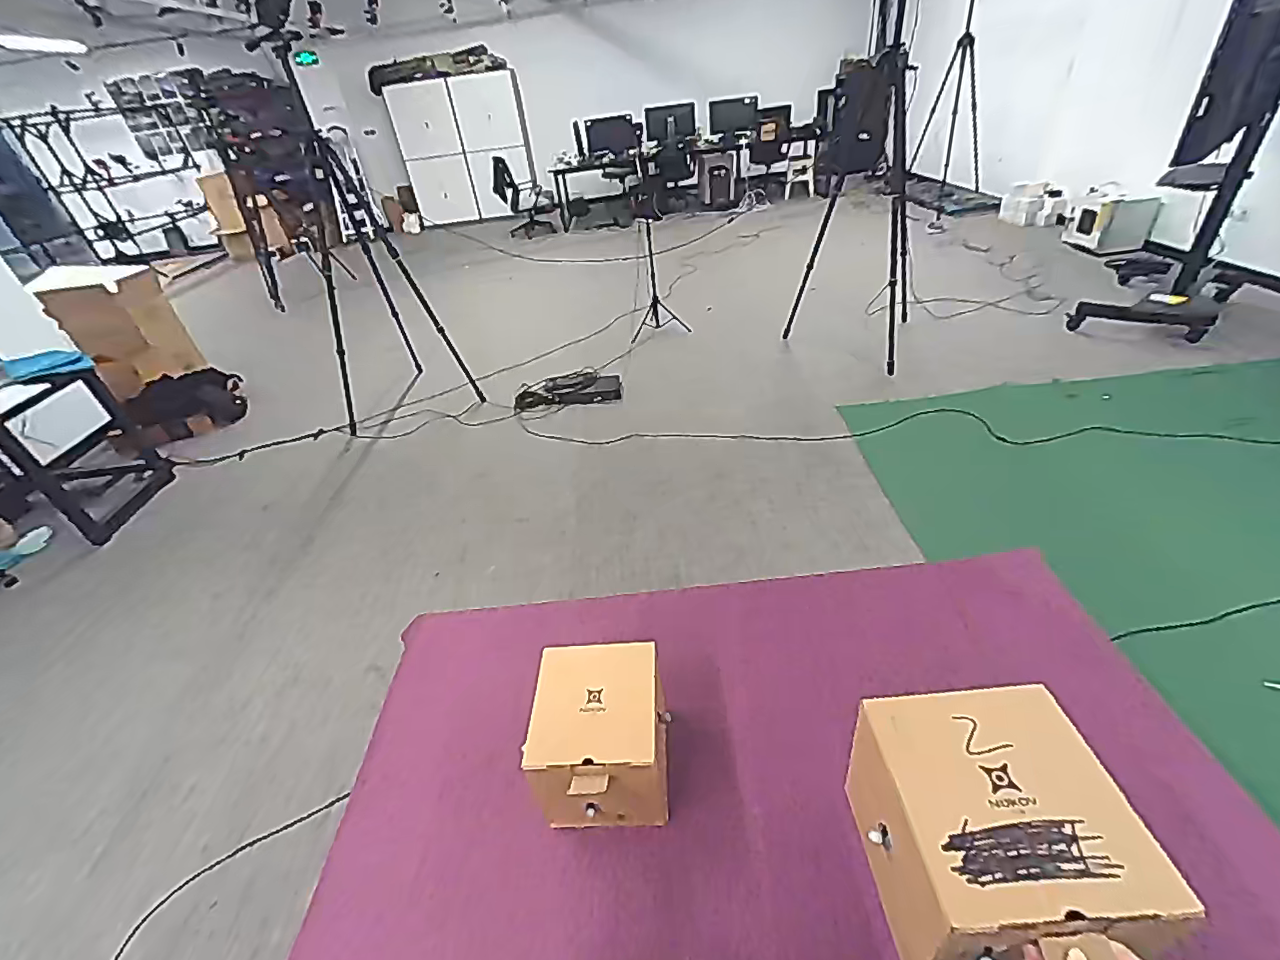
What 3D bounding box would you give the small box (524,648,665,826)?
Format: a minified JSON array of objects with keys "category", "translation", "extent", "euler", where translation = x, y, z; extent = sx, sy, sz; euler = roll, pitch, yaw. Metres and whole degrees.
[{"category":"small box","translation":[-0.054,0.366,0.777],"extent":[0.168,0.176,0.179],"euler":[-5,37,5]}]
